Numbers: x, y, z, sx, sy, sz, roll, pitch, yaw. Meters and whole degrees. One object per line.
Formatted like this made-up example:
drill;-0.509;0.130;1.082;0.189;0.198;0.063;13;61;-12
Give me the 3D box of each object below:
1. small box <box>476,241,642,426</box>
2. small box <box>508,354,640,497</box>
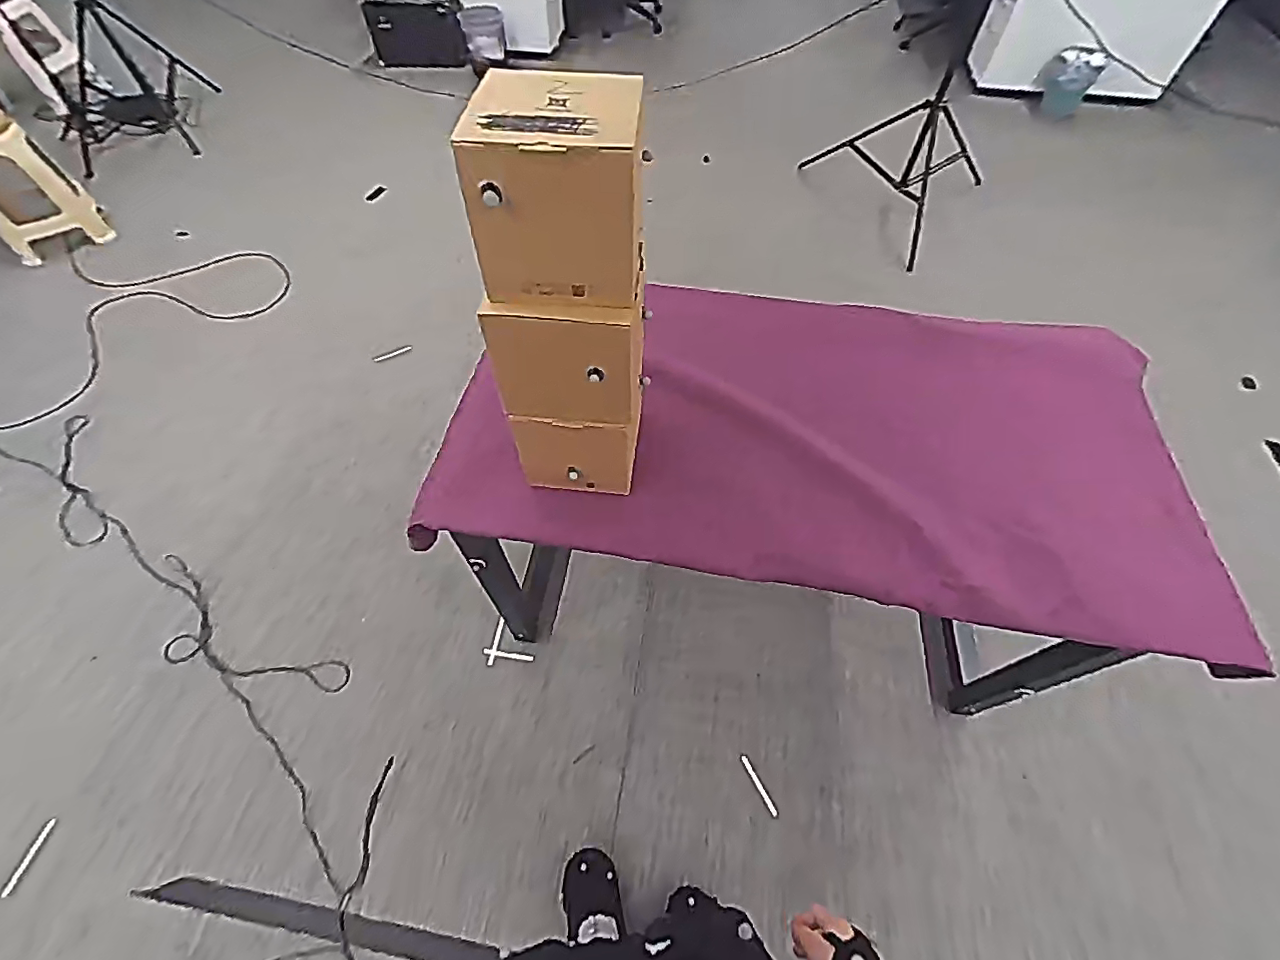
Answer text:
small box;-0.092;-0.188;0.713;0.179;0.176;0.168;4;54;3
small box;-0.093;-0.096;0.847;0.168;0.176;0.179;5;56;3
